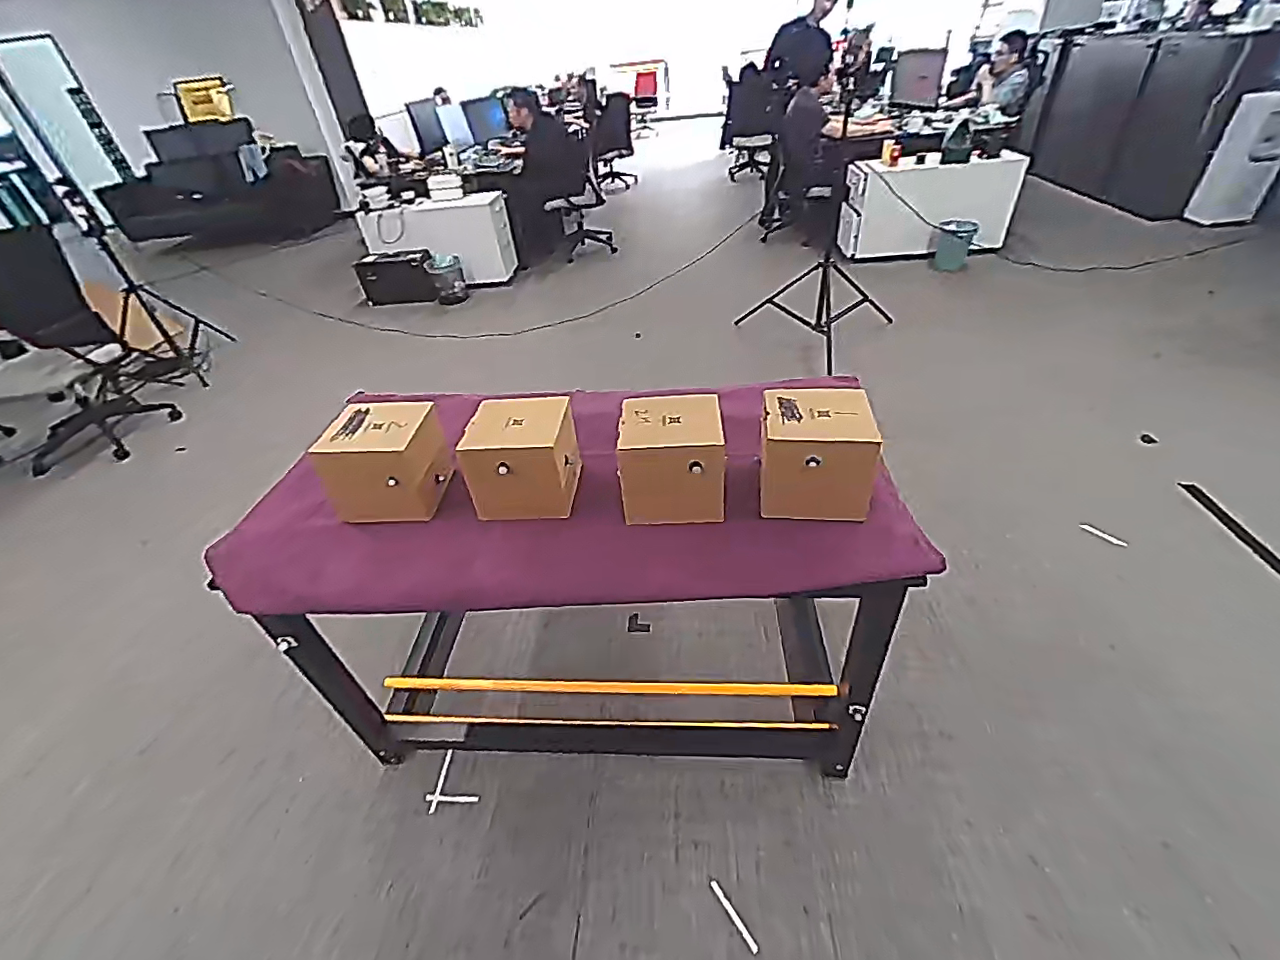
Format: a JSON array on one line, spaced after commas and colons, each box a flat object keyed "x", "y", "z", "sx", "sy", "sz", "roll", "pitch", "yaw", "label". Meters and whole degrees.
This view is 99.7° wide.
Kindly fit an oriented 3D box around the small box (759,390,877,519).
[{"x": 0.299, "y": -0.045, "z": 0.951, "sx": 0.179, "sy": 0.176, "sz": 0.168, "roll": 1, "pitch": 38, "yaw": 10, "label": "small box"}]

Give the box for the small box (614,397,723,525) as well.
[{"x": 0.055, "y": -0.034, "z": 0.975, "sx": 0.179, "sy": 0.176, "sz": 0.168, "roll": -3, "pitch": 37, "yaw": 5, "label": "small box"}]

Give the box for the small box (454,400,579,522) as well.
[{"x": -0.219, "y": -0.034, "z": 1.023, "sx": 0.179, "sy": 0.176, "sz": 0.168, "roll": -3, "pitch": 39, "yaw": 6, "label": "small box"}]
